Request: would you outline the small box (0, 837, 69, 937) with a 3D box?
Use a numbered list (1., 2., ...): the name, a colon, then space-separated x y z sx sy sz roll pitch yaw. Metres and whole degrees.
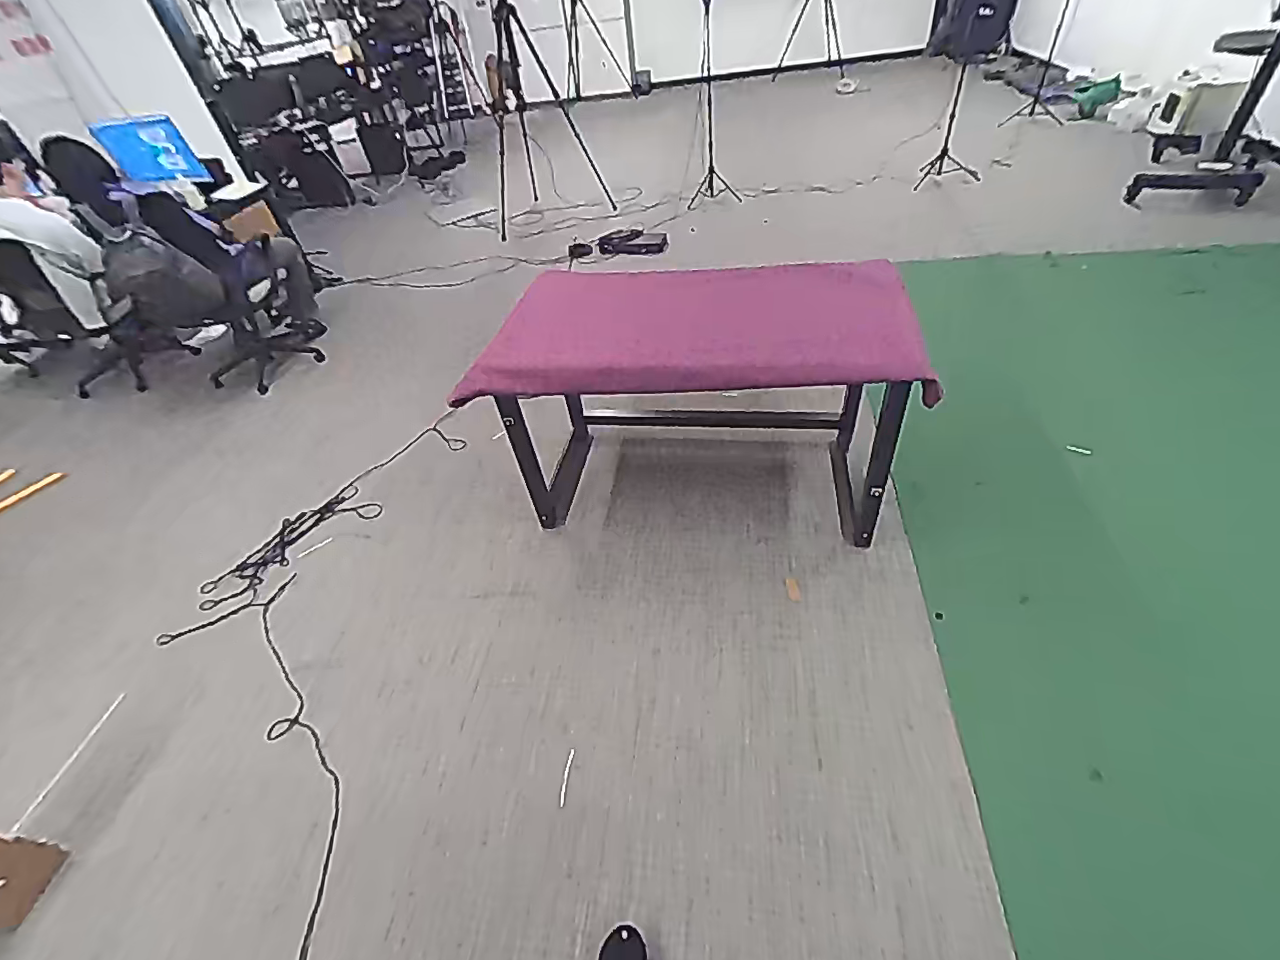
1. small box: -1.598 0.995 1.328 0.168 0.176 0.179 0 44 10
